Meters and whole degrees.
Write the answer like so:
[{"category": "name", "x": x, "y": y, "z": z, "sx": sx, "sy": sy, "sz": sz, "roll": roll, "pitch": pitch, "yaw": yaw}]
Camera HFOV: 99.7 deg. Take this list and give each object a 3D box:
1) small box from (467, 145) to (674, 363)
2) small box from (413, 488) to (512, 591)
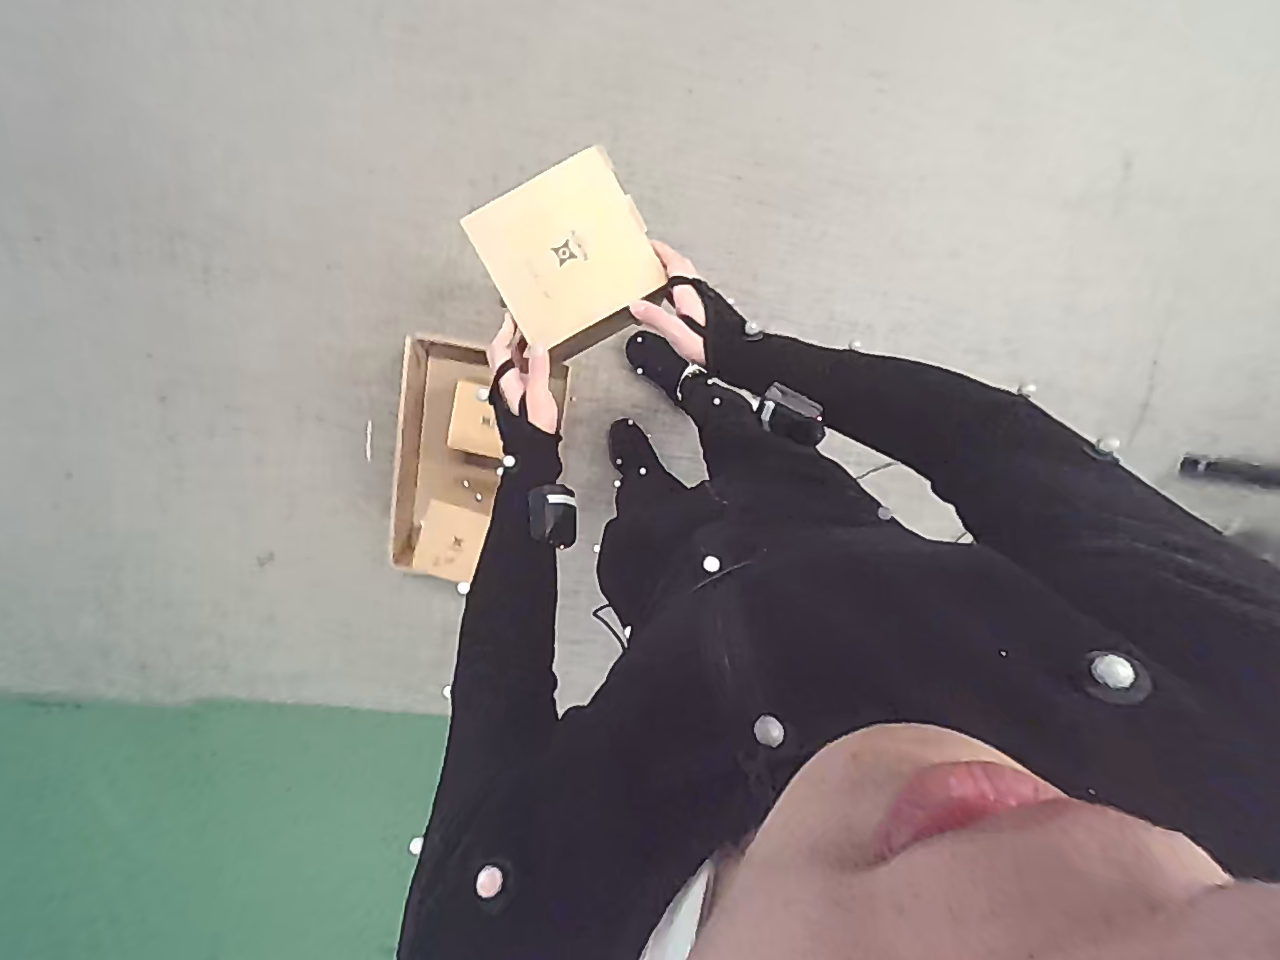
[{"category": "small box", "x": -0.079, "y": -0.258, "z": 0.663, "sx": 0.179, "sy": 0.176, "sz": 0.168, "roll": -27, "pitch": 97, "yaw": 1}, {"category": "small box", "x": -0.412, "y": 0.133, "z": 1.288, "sx": 0.168, "sy": 0.176, "sz": 0.179, "roll": 19, "pitch": 100, "yaw": -7}]
